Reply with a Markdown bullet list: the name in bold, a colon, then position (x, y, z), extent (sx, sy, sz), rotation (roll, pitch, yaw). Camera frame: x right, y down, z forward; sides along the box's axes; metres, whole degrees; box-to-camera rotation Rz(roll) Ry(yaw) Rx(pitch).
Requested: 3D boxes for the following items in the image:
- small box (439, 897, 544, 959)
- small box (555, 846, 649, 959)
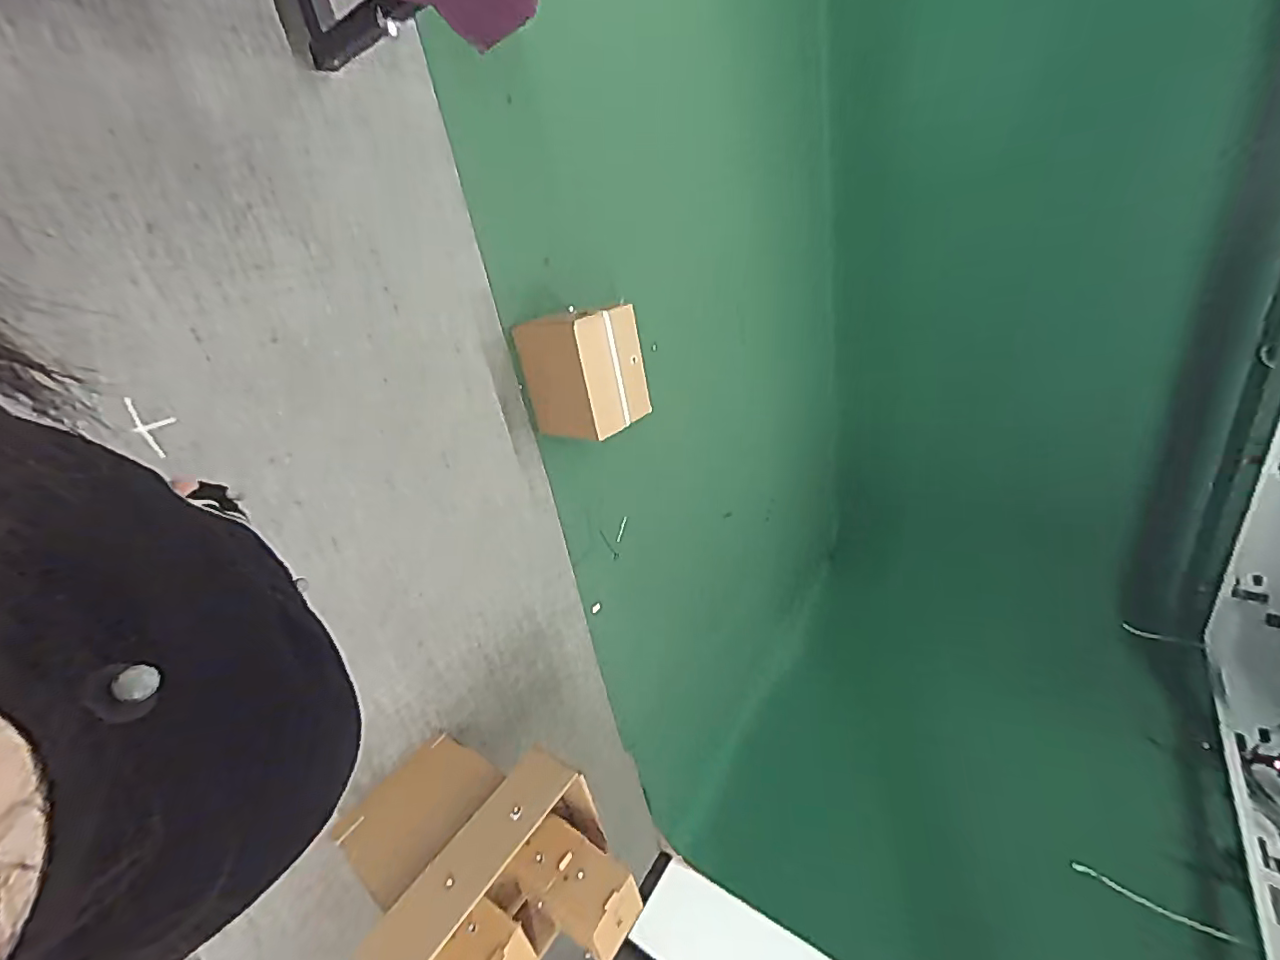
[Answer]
- **small box**: position (-0.376, 1.225, 1.381), extent (0.168, 0.176, 0.179), rotation (-39, 126, -42)
- **small box**: position (-0.101, 1.134, 1.448), extent (0.168, 0.176, 0.179), rotation (-38, 125, -42)
